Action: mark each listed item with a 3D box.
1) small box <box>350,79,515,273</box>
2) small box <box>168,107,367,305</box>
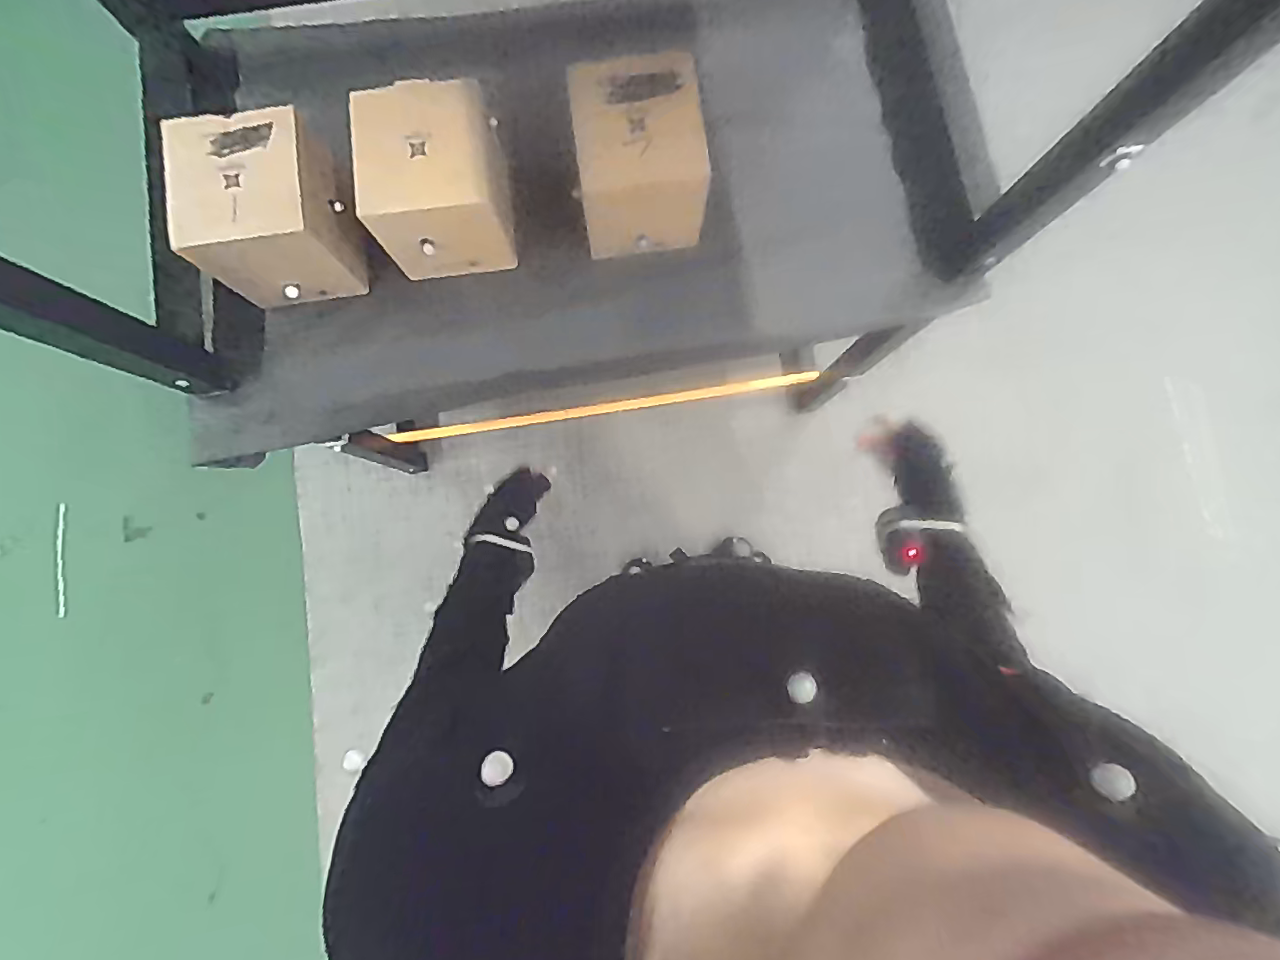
[{"bbox_3d":[-0.281,-0.411,0.763,0.168,0.176,0.179,-8,82,-2],"label":"small box"},{"bbox_3d":[-0.504,-0.369,0.753,0.168,0.176,0.179,-9,83,-2],"label":"small box"}]
